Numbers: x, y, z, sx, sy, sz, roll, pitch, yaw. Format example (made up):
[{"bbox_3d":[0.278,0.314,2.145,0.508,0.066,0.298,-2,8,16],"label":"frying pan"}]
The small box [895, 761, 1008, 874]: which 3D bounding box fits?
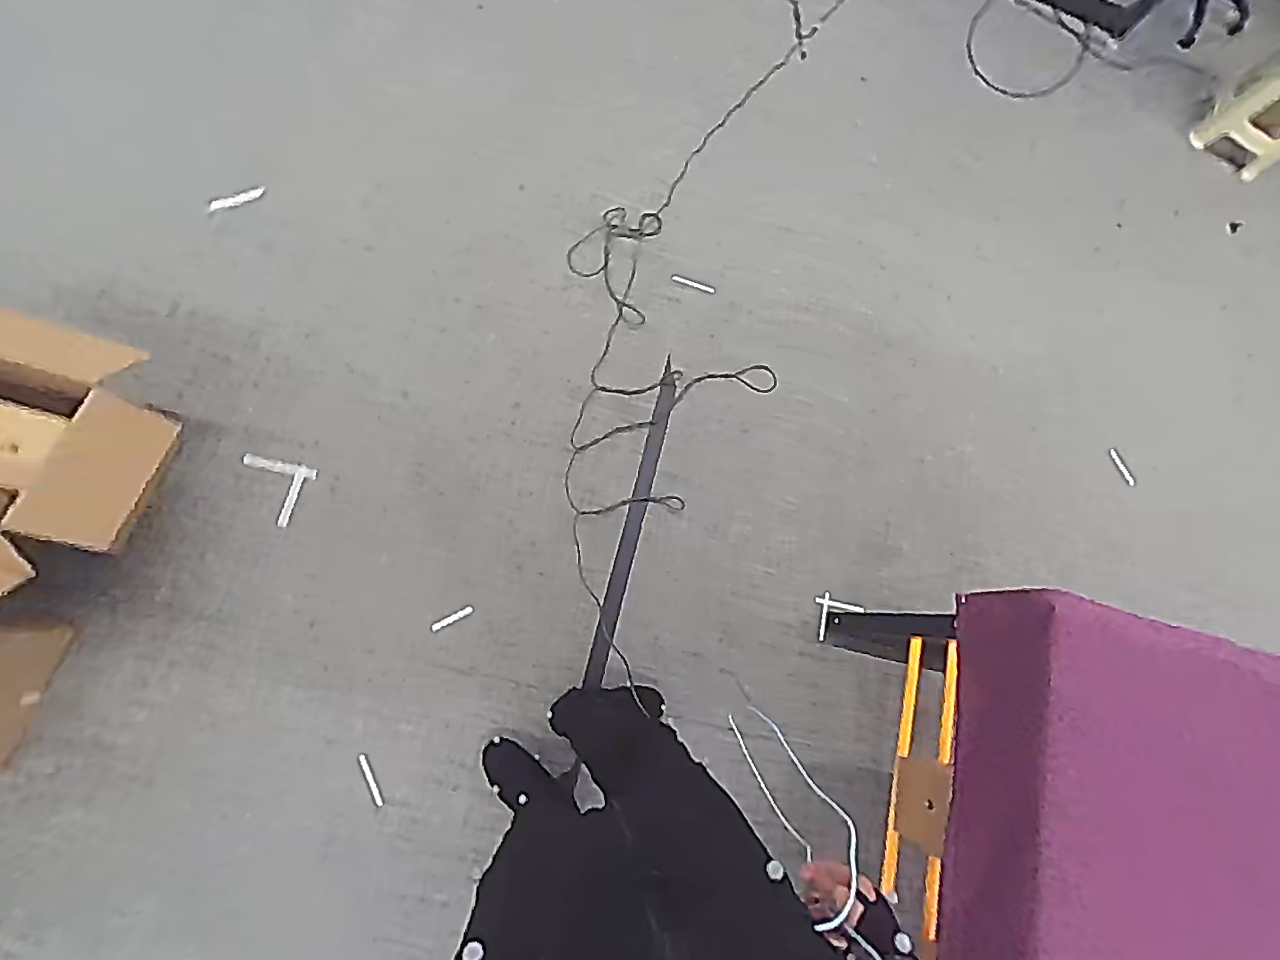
[{"bbox_3d":[0.735,0.793,1.289,0.168,0.176,0.179,14,77,-8],"label":"small box"}]
